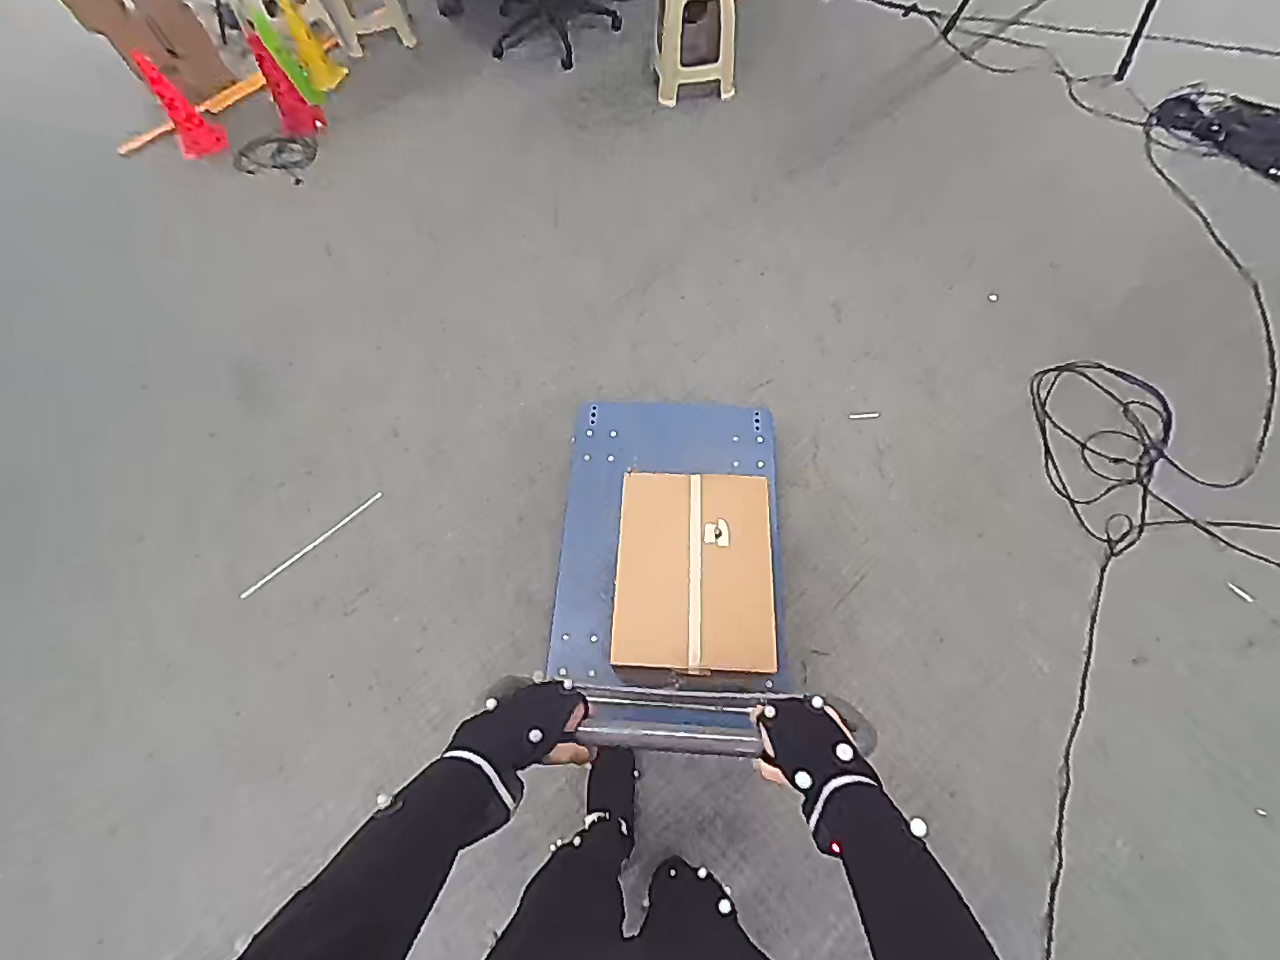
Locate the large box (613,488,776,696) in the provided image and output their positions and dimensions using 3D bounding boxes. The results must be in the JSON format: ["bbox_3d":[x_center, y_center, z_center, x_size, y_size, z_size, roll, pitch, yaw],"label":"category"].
[{"bbox_3d":[0.116,0.266,1.240,0.320,0.320,0.408,2,63,3],"label":"large box"}]
